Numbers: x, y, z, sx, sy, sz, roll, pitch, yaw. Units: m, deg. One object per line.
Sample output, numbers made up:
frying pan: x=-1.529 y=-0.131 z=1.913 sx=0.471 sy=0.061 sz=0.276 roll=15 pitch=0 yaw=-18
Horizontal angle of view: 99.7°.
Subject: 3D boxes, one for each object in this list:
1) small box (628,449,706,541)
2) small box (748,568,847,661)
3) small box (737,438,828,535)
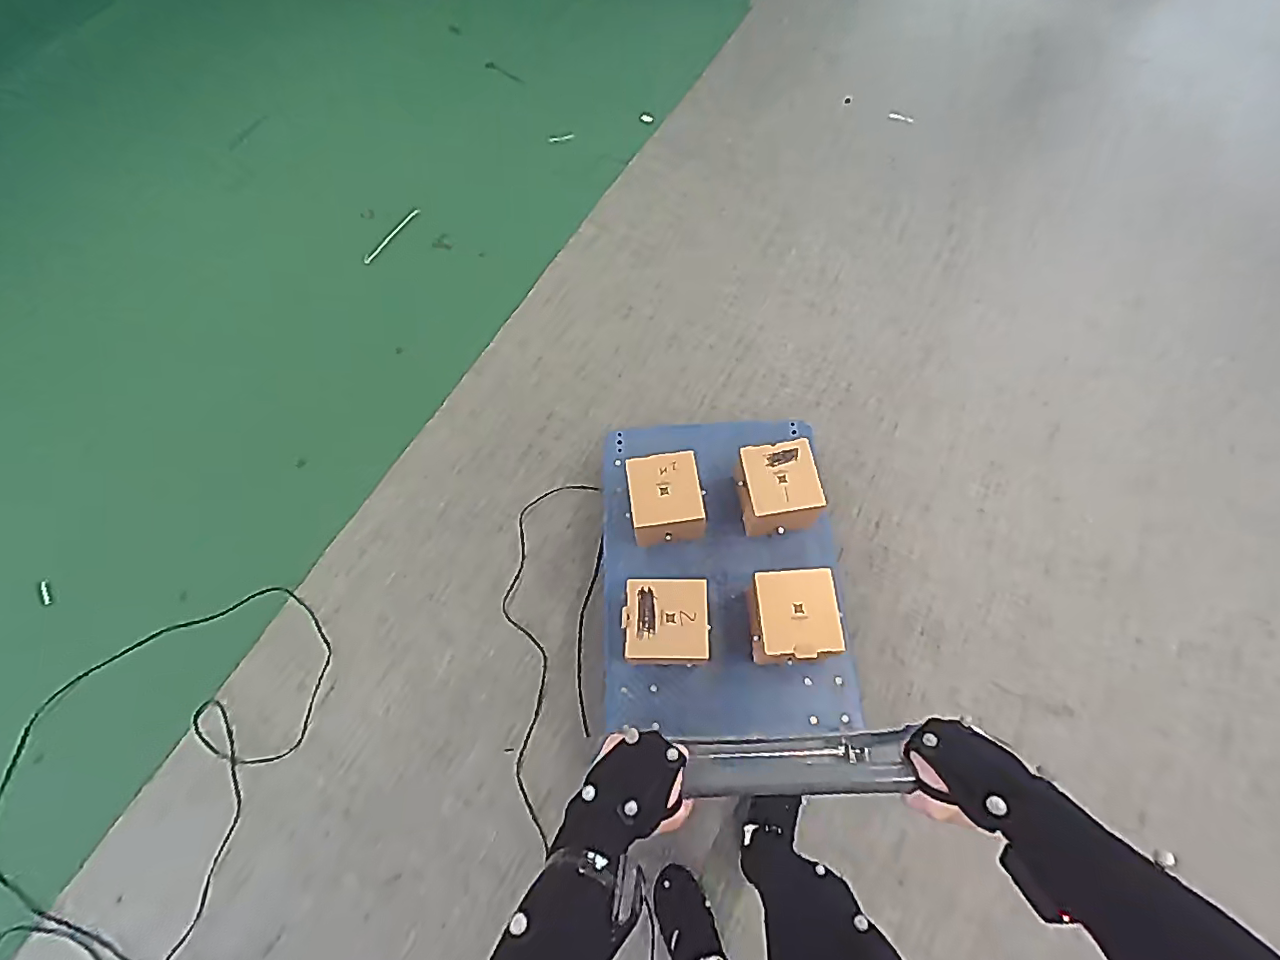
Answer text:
small box: x=0.066 y=0.046 z=1.328 sx=0.168 sy=0.176 sz=0.179 roll=-7 pitch=67 yaw=0
small box: x=0.341 y=0.302 z=1.205 sx=0.168 sy=0.176 sz=0.179 roll=-3 pitch=68 yaw=2
small box: x=0.338 y=0.019 z=1.323 sx=0.168 sy=0.176 sz=0.179 roll=-8 pitch=68 yaw=1
